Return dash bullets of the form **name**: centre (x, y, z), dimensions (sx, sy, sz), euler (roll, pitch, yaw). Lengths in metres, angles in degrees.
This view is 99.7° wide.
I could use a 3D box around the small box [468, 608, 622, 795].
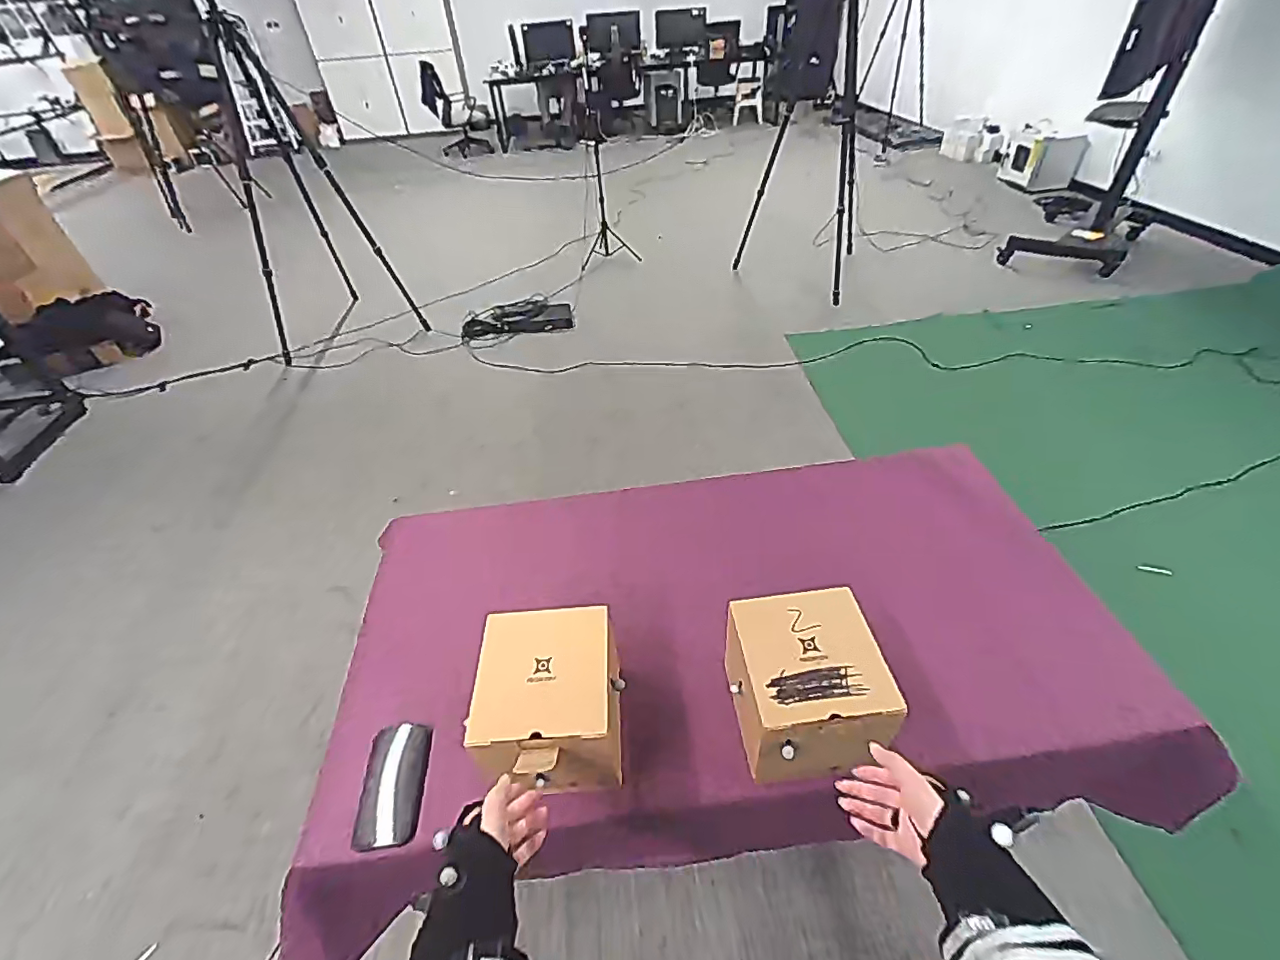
- **small box**: centre (-0.113, 0.294, 0.722), dimensions (0.168, 0.176, 0.179), euler (-4, 43, 0)
